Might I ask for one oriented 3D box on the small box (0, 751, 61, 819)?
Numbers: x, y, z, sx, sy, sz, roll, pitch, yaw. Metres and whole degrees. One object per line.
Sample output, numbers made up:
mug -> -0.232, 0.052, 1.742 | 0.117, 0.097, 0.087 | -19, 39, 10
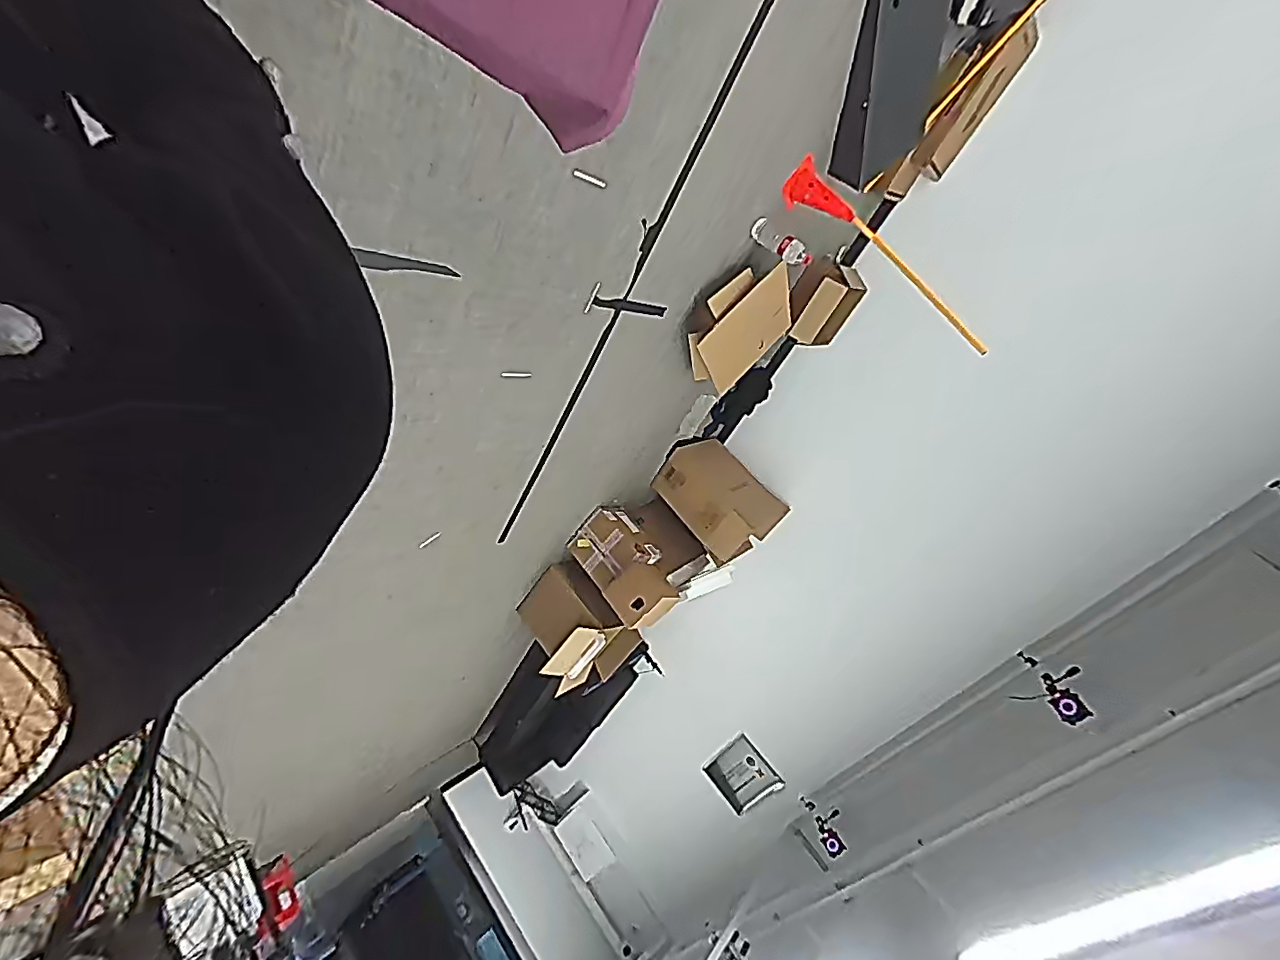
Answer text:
small box -> -1.752, 0.894, 1.496 | 0.179, 0.176, 0.168 | -14, 143, -50

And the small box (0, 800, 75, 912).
small box -> -1.641, 0.995, 1.434 | 0.168, 0.176, 0.179 | -15, 143, -51
